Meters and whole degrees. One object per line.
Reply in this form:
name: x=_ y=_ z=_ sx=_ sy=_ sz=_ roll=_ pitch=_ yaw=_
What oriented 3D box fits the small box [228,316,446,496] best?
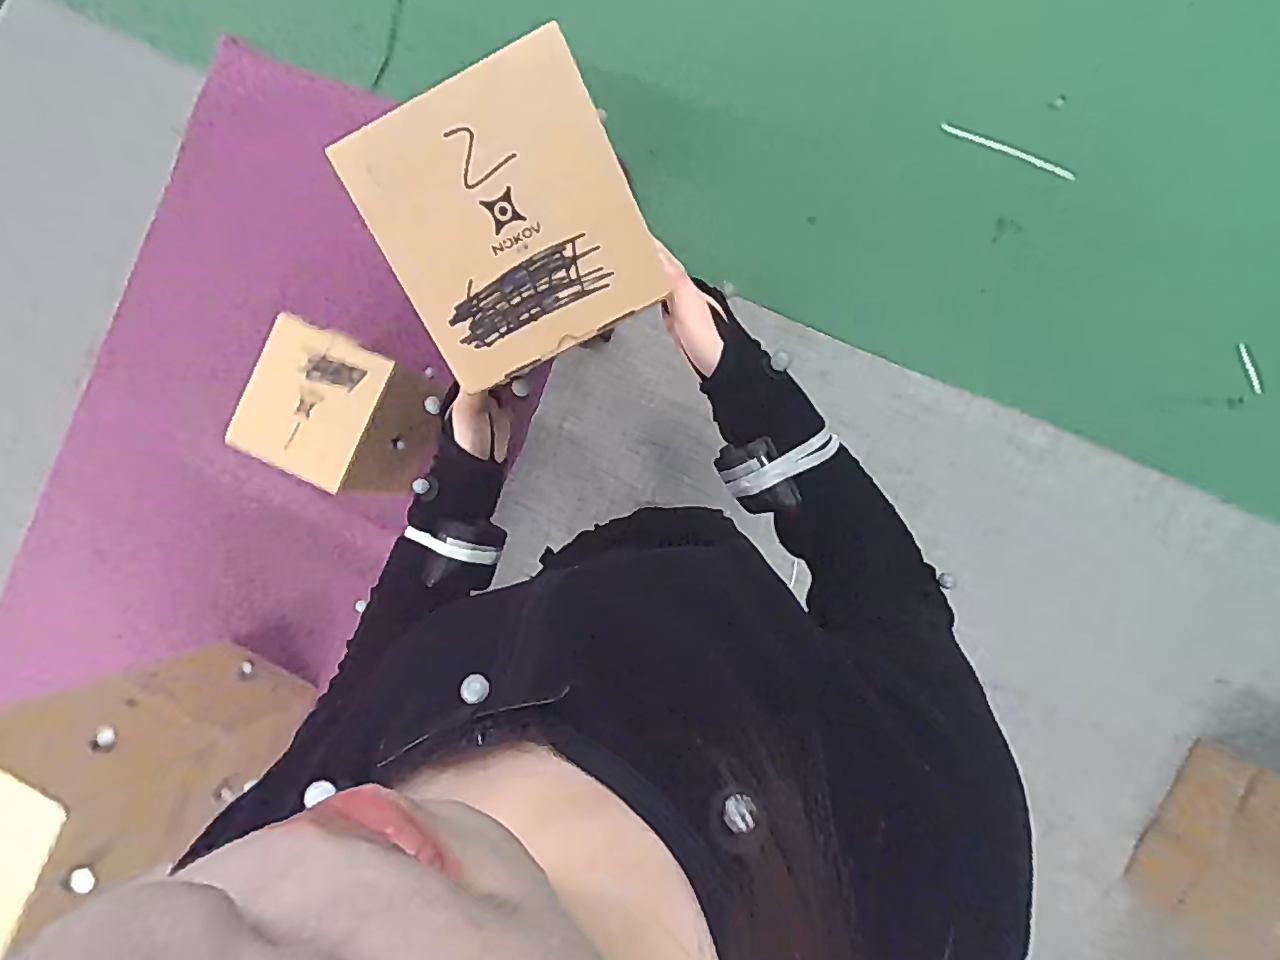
small box: x=-0.392 y=-0.089 z=0.736 sx=0.168 sy=0.176 sz=0.179 roll=24 pitch=91 yaw=6

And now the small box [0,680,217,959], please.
small box: x=-0.605 y=0.343 z=0.572 sx=0.168 sy=0.176 sz=0.179 roll=24 pitch=91 yaw=6

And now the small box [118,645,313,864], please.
small box: x=-0.592 y=0.354 z=0.735 sx=0.168 sy=0.176 sz=0.179 roll=25 pitch=90 yaw=5
